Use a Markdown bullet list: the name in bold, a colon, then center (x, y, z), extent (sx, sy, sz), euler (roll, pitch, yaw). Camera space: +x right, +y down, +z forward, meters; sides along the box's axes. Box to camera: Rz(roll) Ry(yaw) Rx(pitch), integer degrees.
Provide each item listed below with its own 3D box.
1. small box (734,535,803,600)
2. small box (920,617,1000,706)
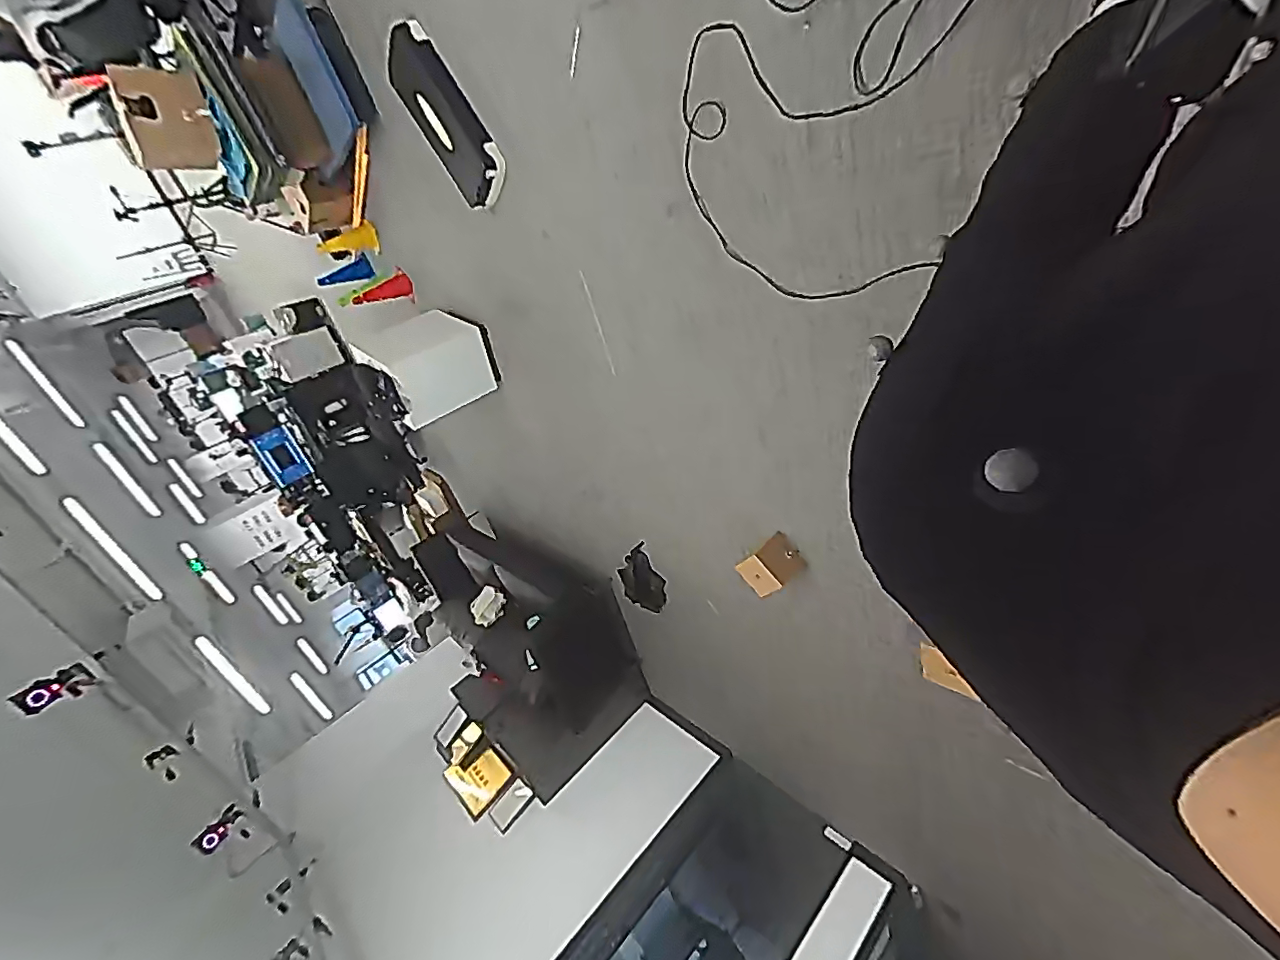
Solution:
- **small box**: center (0.520, 0.351, 2.178), extent (0.168, 0.176, 0.179), euler (48, 149, 8)
- **small box**: center (1.007, 0.559, 1.695), extent (0.179, 0.176, 0.168), euler (15, 132, 49)
